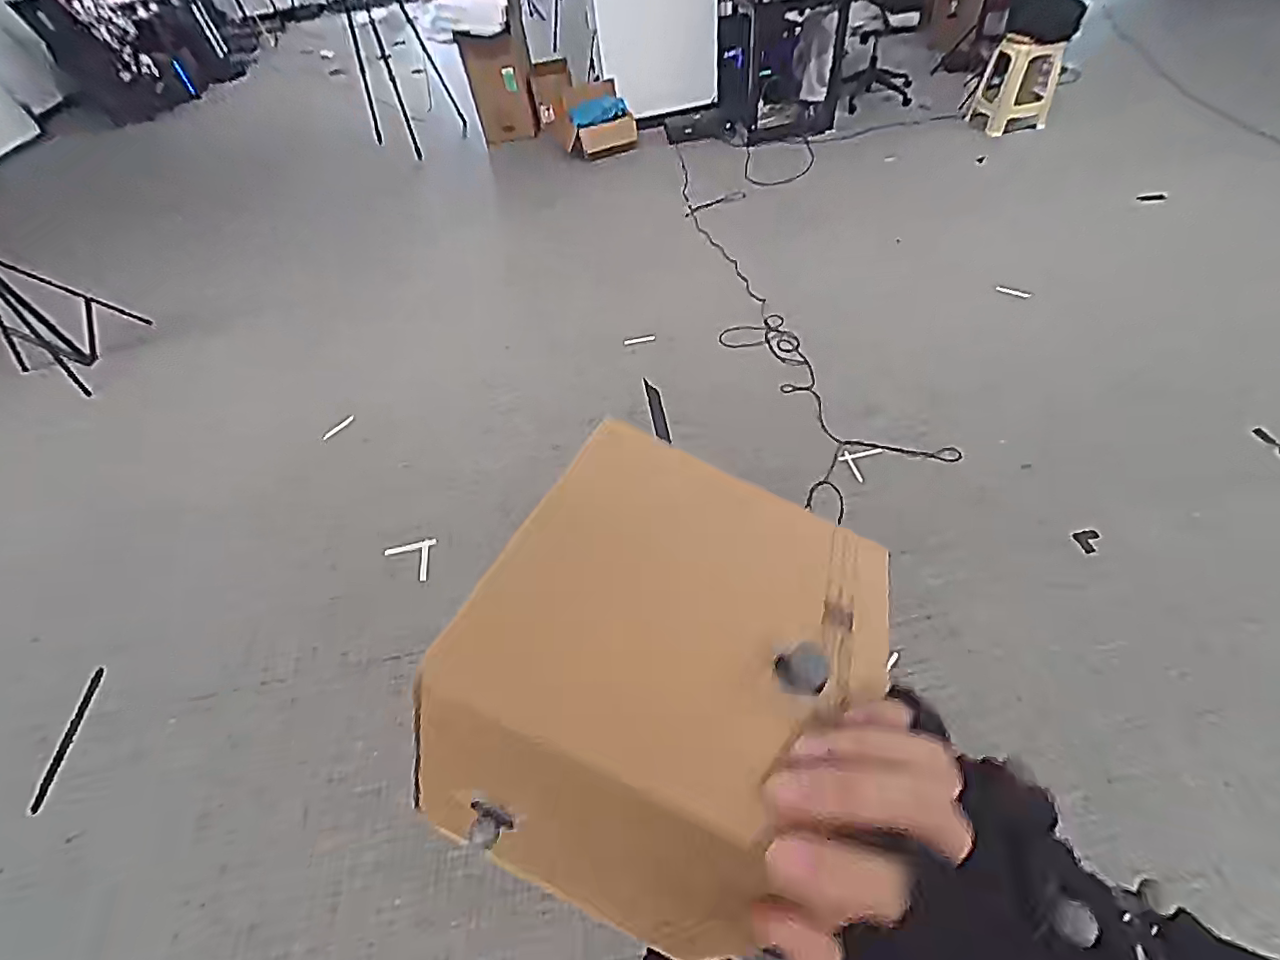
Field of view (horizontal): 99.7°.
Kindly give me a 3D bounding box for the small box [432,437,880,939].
[{"bbox_3d":[0.009,0.115,0.302,0.176,0.179,0.168,25,40,2],"label":"small box"}]
